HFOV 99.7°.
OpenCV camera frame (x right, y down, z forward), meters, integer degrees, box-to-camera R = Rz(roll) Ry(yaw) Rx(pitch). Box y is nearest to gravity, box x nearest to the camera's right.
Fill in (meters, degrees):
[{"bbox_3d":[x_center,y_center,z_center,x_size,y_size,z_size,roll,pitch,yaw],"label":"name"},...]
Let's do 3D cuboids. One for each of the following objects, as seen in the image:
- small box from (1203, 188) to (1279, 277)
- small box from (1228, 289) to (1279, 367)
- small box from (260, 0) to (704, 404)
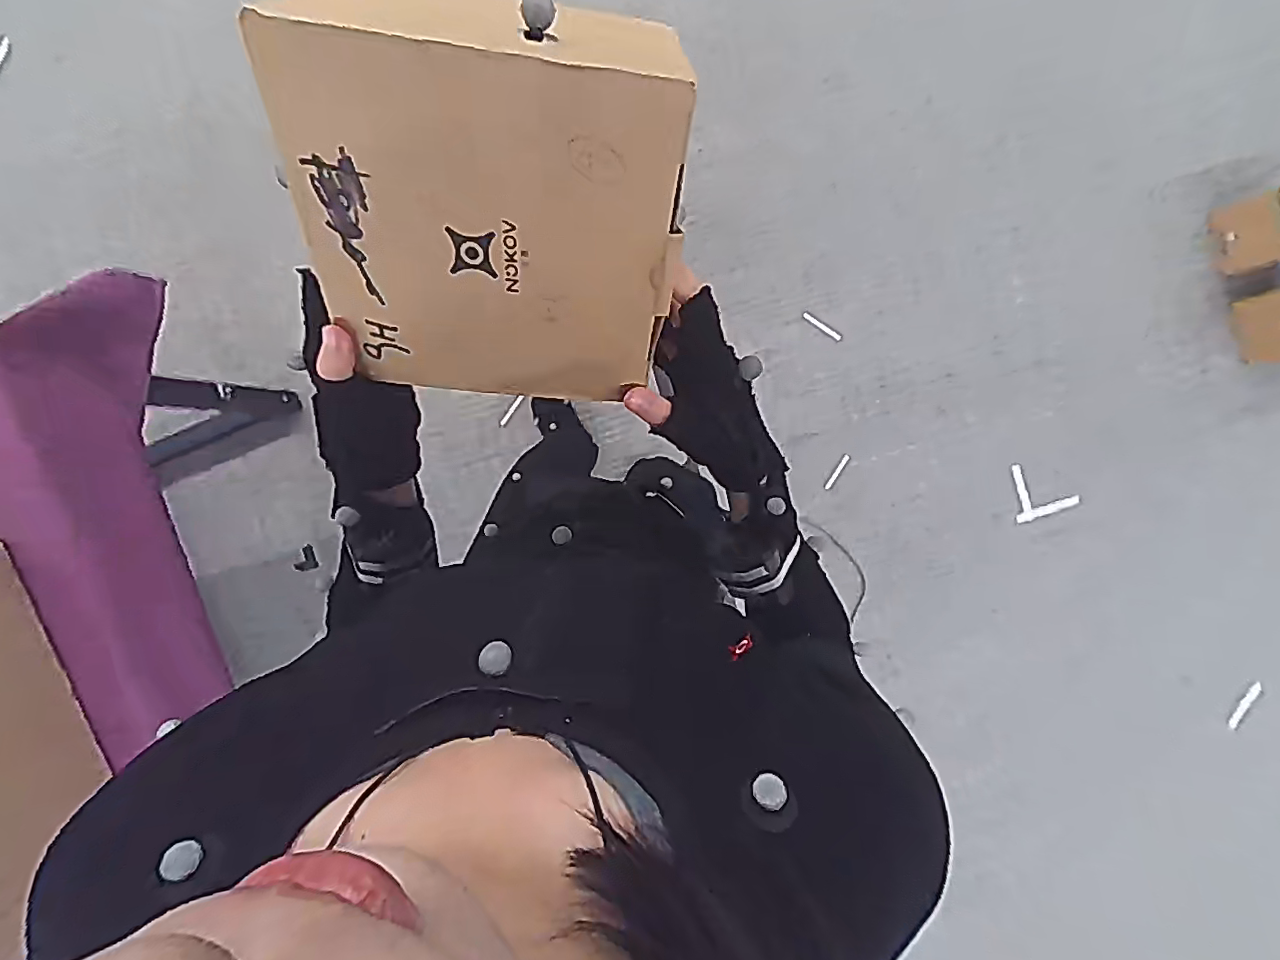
[{"bbox_3d":[1.577,-0.625,1.341,0.179,0.176,0.168,-15,93,4],"label":"small box"},{"bbox_3d":[1.651,-0.399,1.357,0.168,0.176,0.179,-18,94,4],"label":"small box"},{"bbox_3d":[-0.072,-0.167,0.324,0.179,0.176,0.168,5,135,-7],"label":"small box"}]
